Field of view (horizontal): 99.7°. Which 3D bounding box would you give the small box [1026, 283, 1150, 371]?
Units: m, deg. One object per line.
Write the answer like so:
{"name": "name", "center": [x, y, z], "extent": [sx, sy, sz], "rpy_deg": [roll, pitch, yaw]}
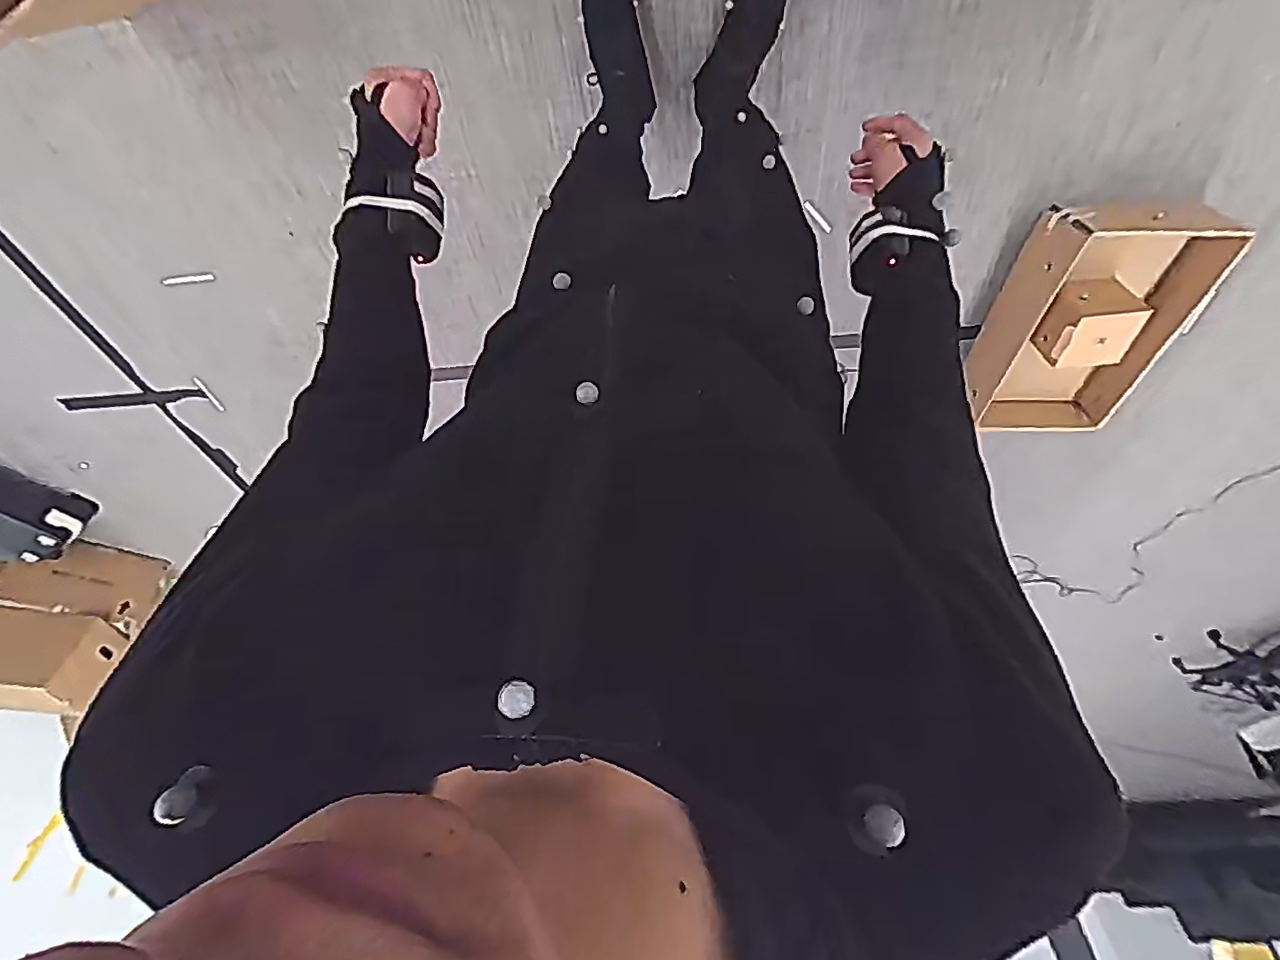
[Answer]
{"name": "small box", "center": [1.209, -0.420, 1.481], "extent": [0.179, 0.176, 0.168], "rpy_deg": [-4, 138, 4]}
